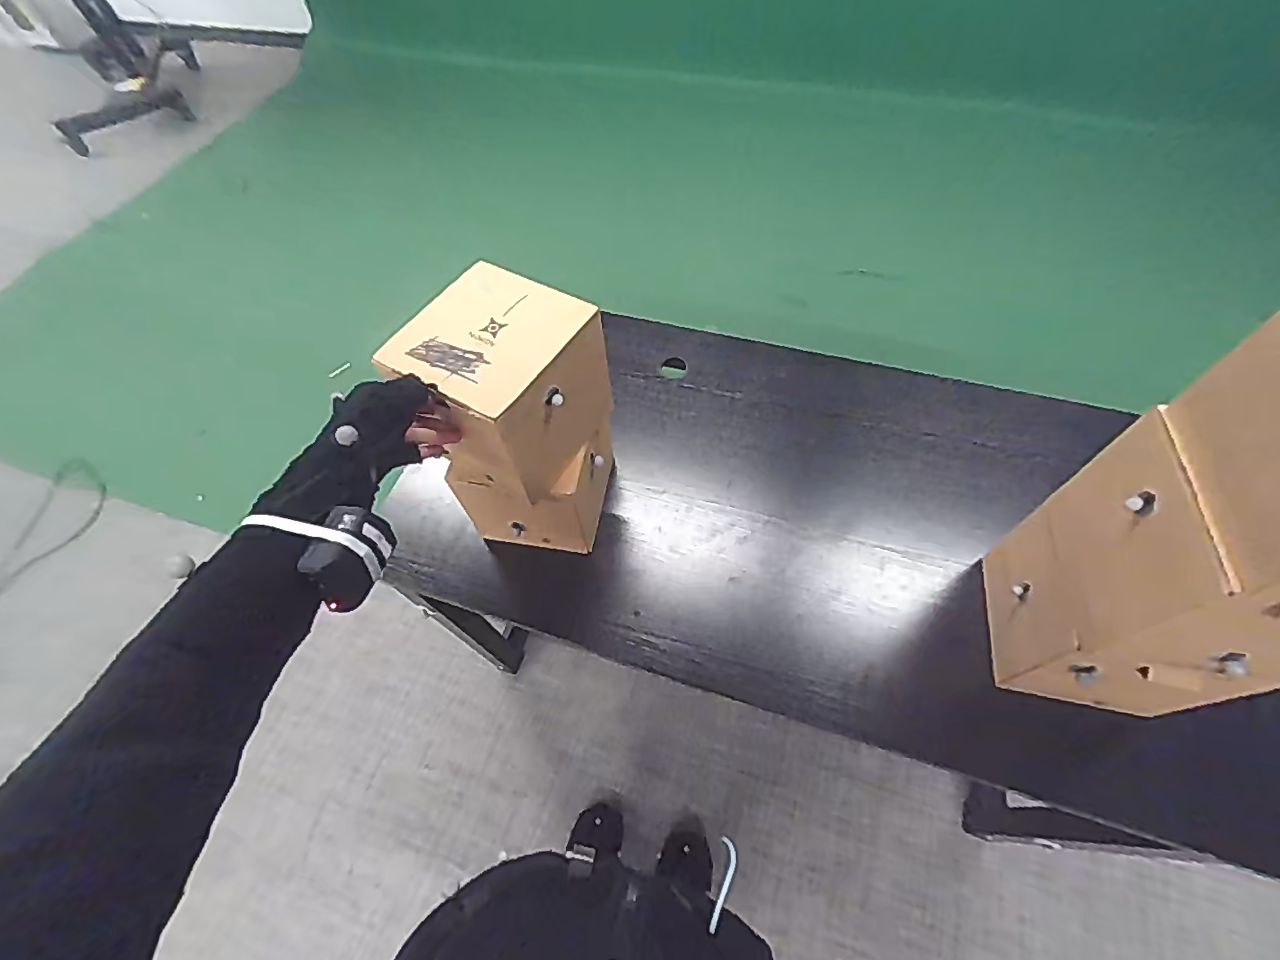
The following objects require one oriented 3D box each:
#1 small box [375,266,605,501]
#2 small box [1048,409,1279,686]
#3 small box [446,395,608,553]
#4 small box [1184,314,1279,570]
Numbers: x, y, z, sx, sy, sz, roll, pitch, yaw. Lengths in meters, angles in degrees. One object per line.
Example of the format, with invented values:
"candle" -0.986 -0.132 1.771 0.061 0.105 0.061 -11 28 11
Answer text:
"small box" -0.153 -0.105 0.624 0.168 0.176 0.179 27 63 17
"small box" 0.506 0.064 0.479 0.168 0.176 0.179 7 59 9
"small box" -0.142 -0.019 0.764 0.168 0.176 0.179 7 60 7
"small box" 0.503 -0.029 0.325 0.168 0.176 0.179 8 58 8
